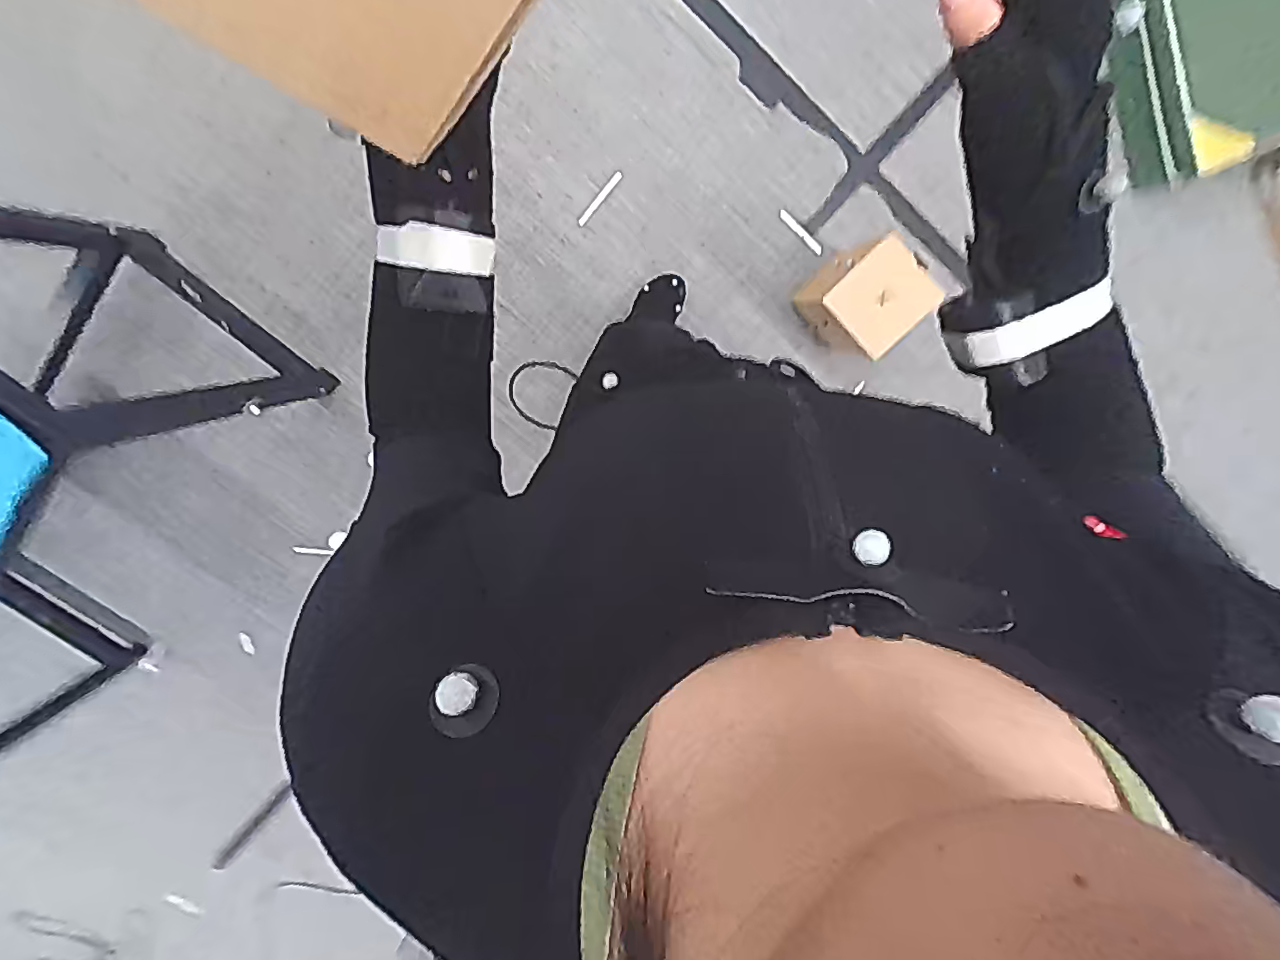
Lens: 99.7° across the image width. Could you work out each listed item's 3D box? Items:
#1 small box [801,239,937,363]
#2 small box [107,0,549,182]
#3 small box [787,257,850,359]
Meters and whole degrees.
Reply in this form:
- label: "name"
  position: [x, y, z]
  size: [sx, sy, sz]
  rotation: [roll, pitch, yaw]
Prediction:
- label: "small box"
  position: [0.469, -0.372, 1.137]
  size: [0.179, 0.176, 0.168]
  rotation: [-43, 100, 14]
- label: "small box"
  position: [-0.100, -0.235, 0.138]
  size: [0.179, 0.176, 0.168]
  rotation: [-28, 63, 39]
- label: "small box"
  position: [0.482, -0.416, 1.293]
  size: [0.168, 0.176, 0.179]
  rotation: [-43, 103, 12]
